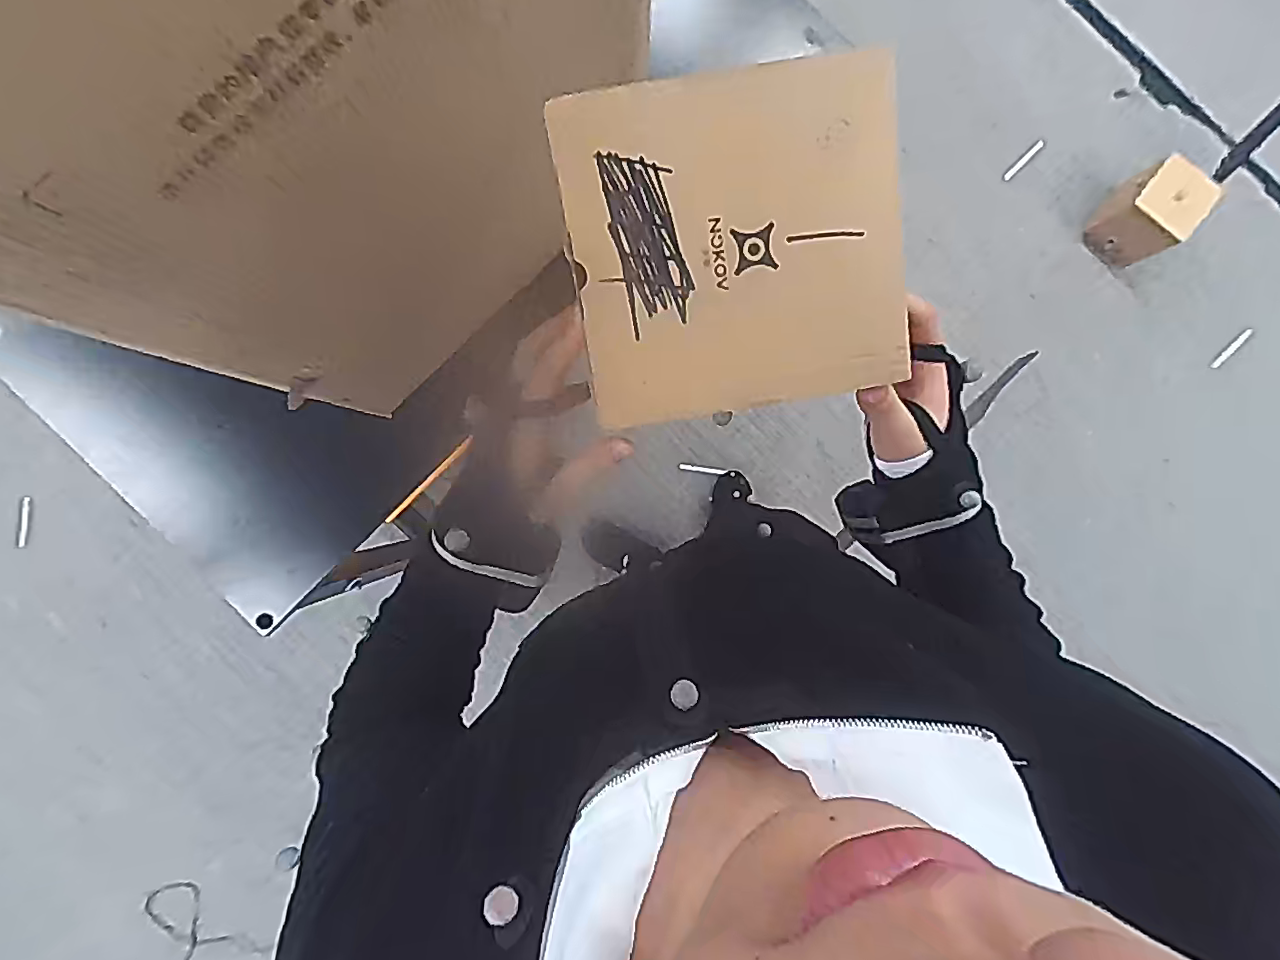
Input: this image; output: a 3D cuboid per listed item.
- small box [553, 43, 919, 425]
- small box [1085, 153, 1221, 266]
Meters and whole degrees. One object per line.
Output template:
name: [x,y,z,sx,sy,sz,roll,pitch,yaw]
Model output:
small box: [0.054,-0.135,0.355,0.179,0.176,0.168,-8,103,2]
small box: [1.368,-0.718,1.456,0.168,0.176,0.179,38,90,1]
